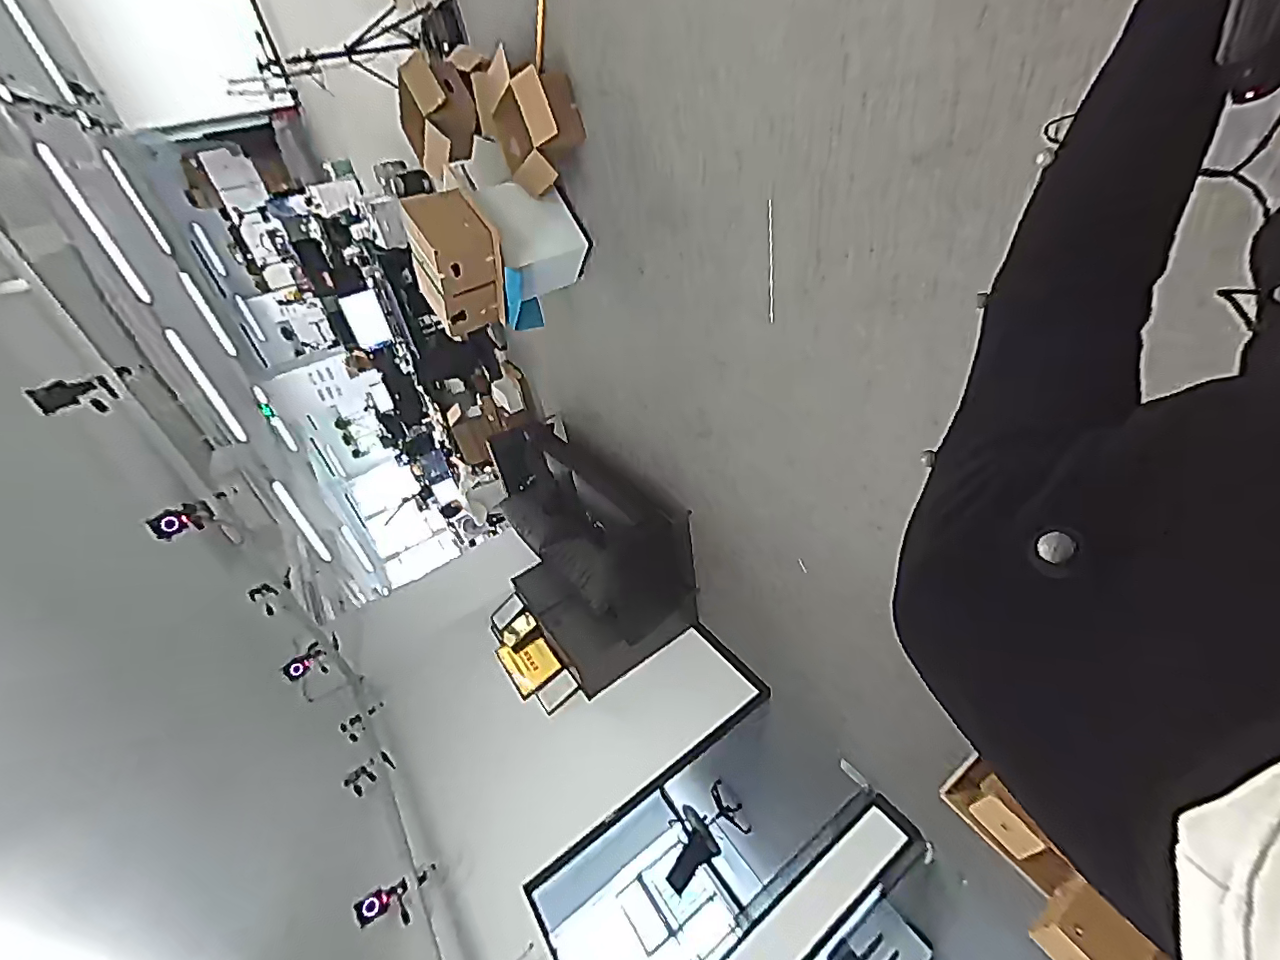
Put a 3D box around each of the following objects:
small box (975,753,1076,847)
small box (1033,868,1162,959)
[{"bbox_3d":[1.181,0.974,1.654,0.168,0.176,0.179,46,153,35],"label":"small box"},{"bbox_3d":[1.196,1.170,1.415,0.179,0.176,0.168,44,153,39],"label":"small box"}]
